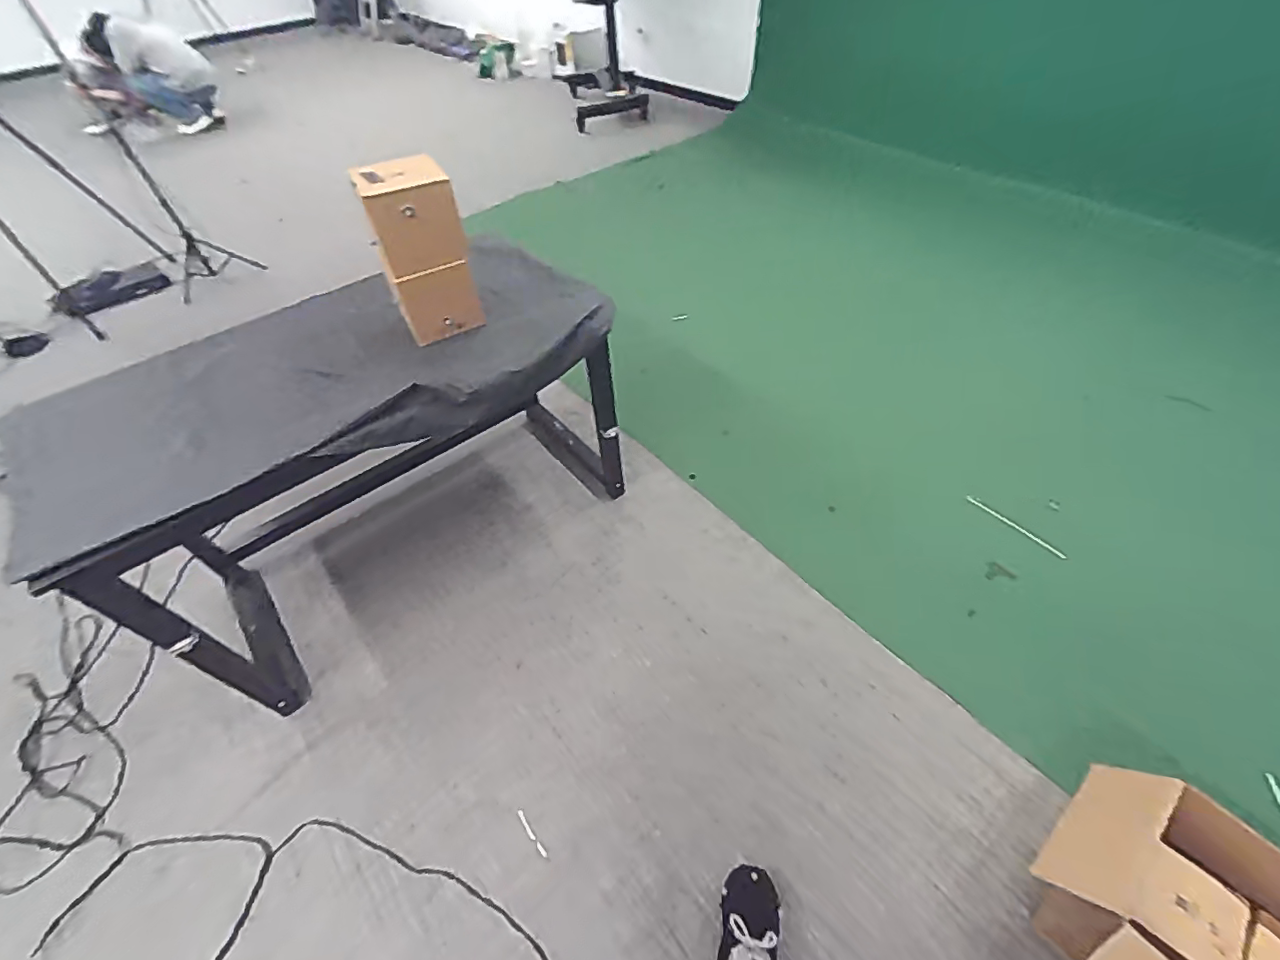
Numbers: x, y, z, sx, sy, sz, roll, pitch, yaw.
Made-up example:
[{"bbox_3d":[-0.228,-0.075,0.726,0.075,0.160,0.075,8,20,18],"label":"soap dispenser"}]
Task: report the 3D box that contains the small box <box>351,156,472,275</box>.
[{"bbox_3d":[-0.492,-0.571,1.175,0.179,0.176,0.168,-25,53,-17],"label":"small box"}]
